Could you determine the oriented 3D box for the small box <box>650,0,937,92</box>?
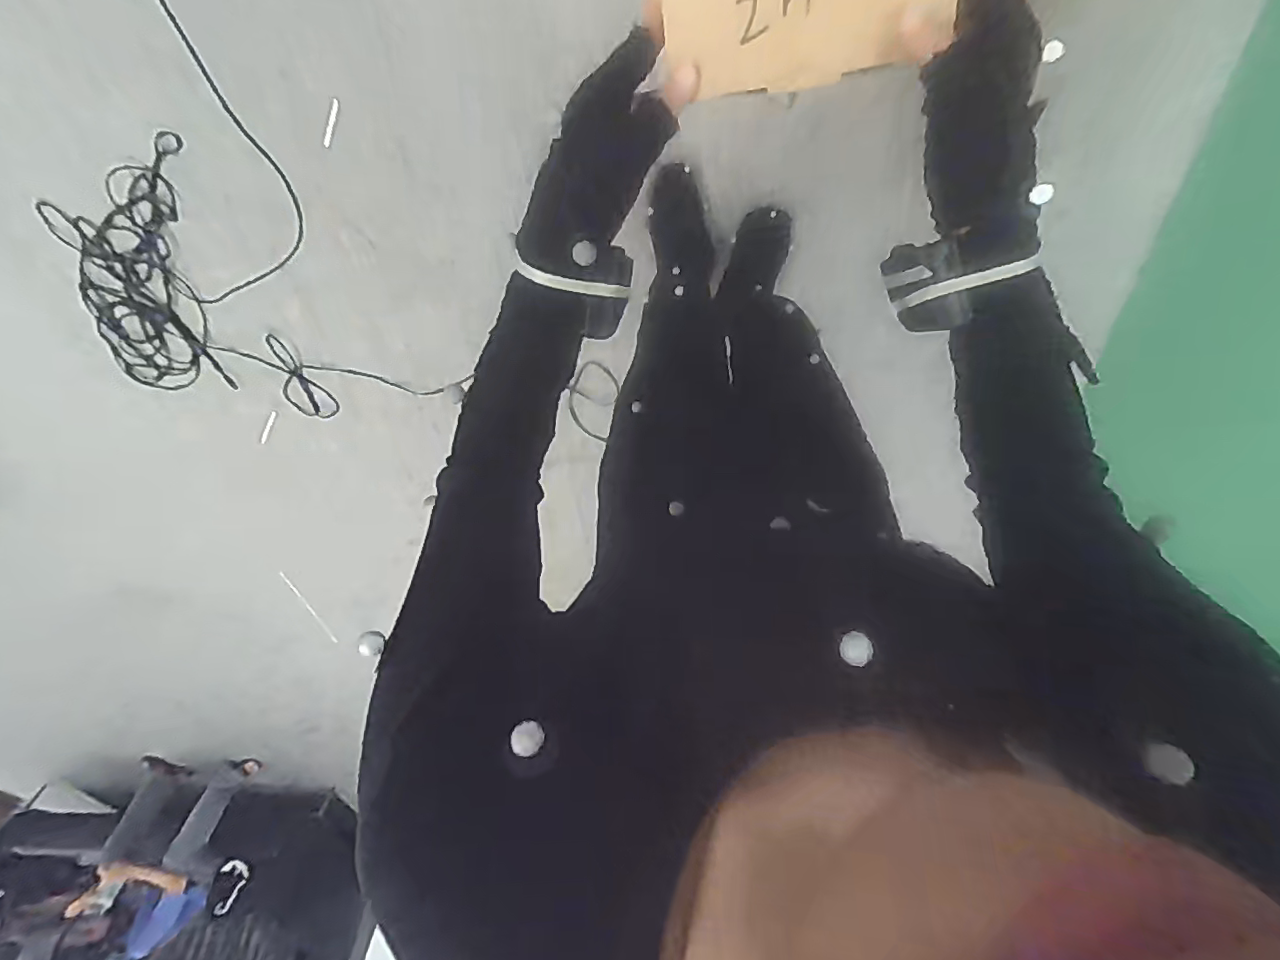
[{"bbox_3d":[0.090,-0.369,0.348,0.168,0.176,0.179,-2,127,11],"label":"small box"}]
